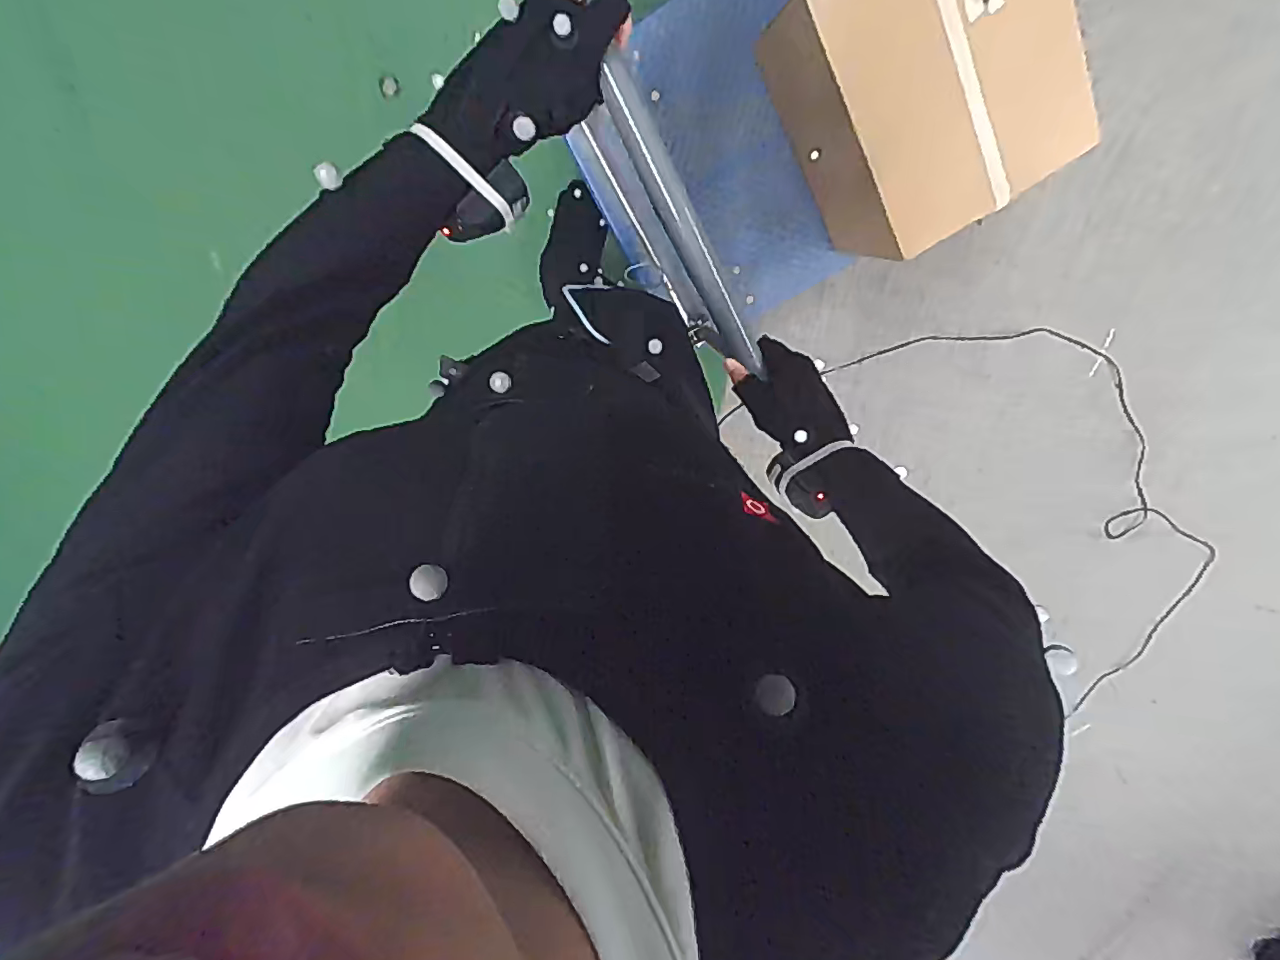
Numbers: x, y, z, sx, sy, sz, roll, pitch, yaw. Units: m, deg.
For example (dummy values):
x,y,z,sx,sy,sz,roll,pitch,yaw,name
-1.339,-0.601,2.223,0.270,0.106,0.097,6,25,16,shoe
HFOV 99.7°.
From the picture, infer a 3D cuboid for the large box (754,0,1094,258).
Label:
x,y,z,sx,sy,sz,roll,pitch,yaw,name
0.438,-0.638,0.893,0.320,0.320,0.408,-30,112,12,large box
